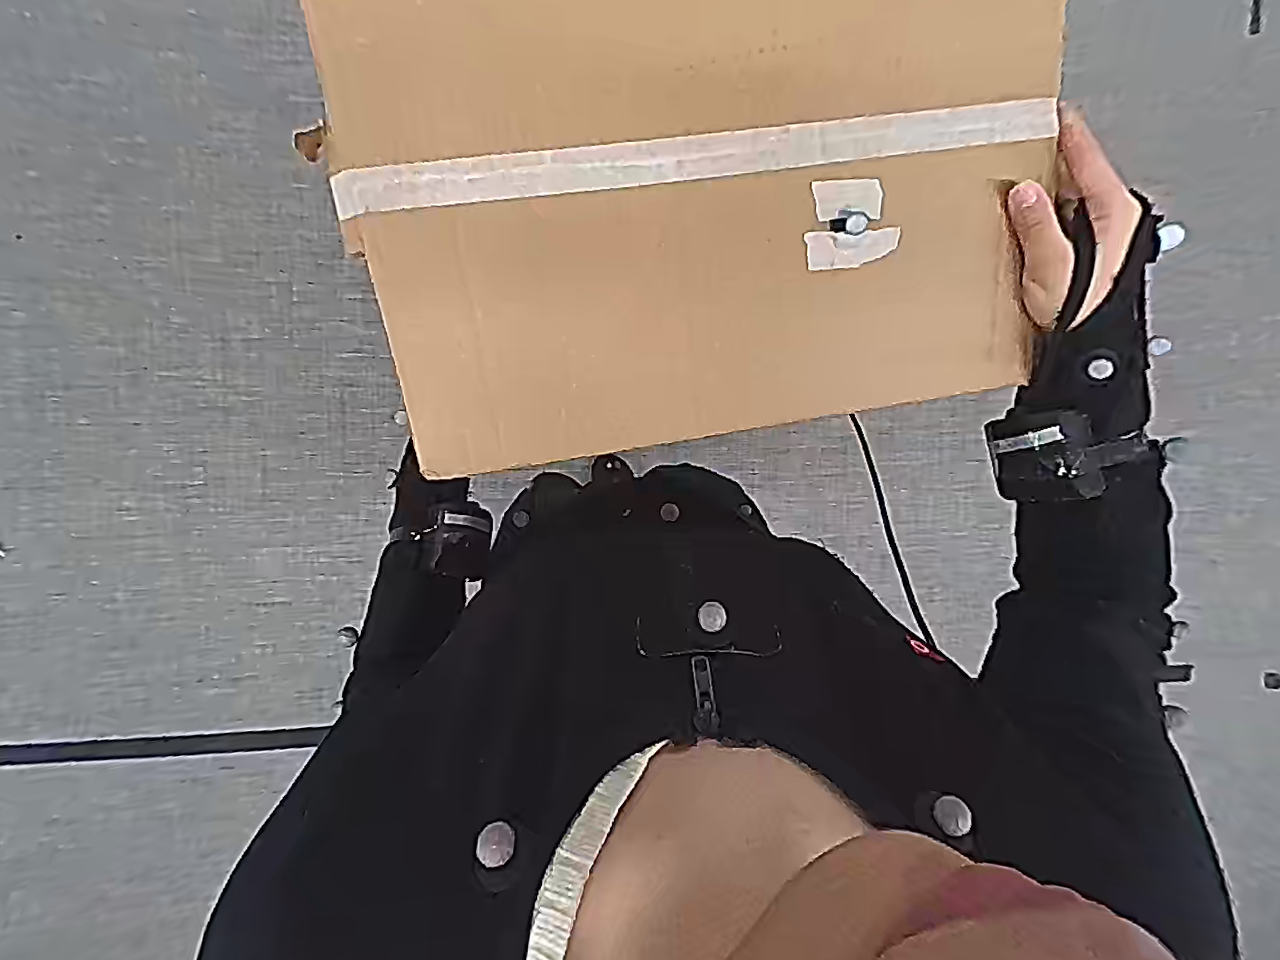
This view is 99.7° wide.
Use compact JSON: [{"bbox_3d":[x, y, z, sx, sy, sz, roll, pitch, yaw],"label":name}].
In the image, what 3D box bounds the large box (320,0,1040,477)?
[{"bbox_3d":[0.023,-0.218,0.455,0.408,0.320,0.320,-10,106,-8],"label":"large box"}]
